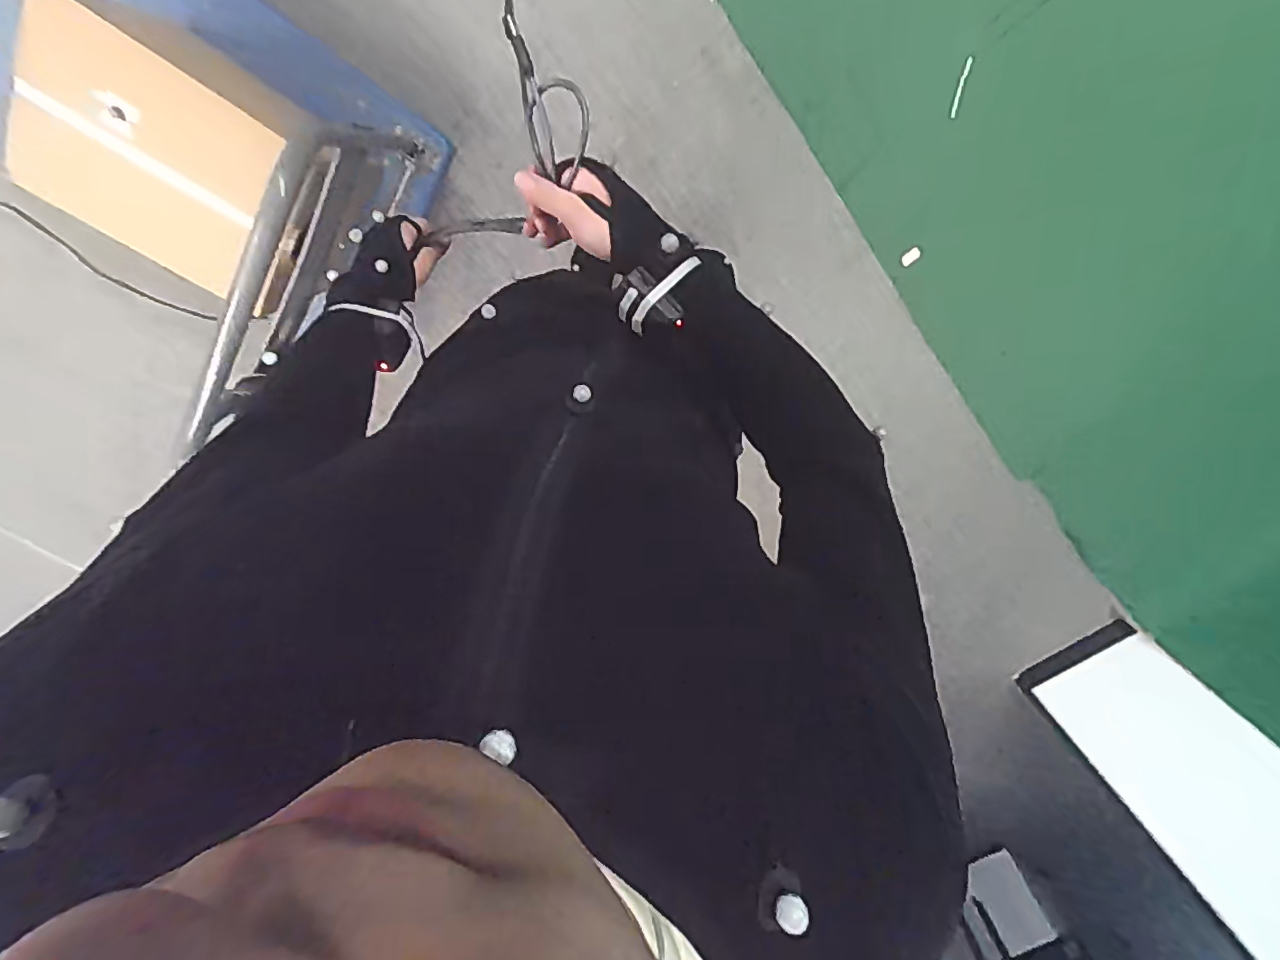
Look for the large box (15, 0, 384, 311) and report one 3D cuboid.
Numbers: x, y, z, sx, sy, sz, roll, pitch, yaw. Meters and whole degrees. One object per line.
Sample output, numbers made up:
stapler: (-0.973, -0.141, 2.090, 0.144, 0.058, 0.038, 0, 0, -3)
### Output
large box: (-0.777, -0.586, 1.013, 0.408, 0.320, 0.320, 31, 113, -18)
